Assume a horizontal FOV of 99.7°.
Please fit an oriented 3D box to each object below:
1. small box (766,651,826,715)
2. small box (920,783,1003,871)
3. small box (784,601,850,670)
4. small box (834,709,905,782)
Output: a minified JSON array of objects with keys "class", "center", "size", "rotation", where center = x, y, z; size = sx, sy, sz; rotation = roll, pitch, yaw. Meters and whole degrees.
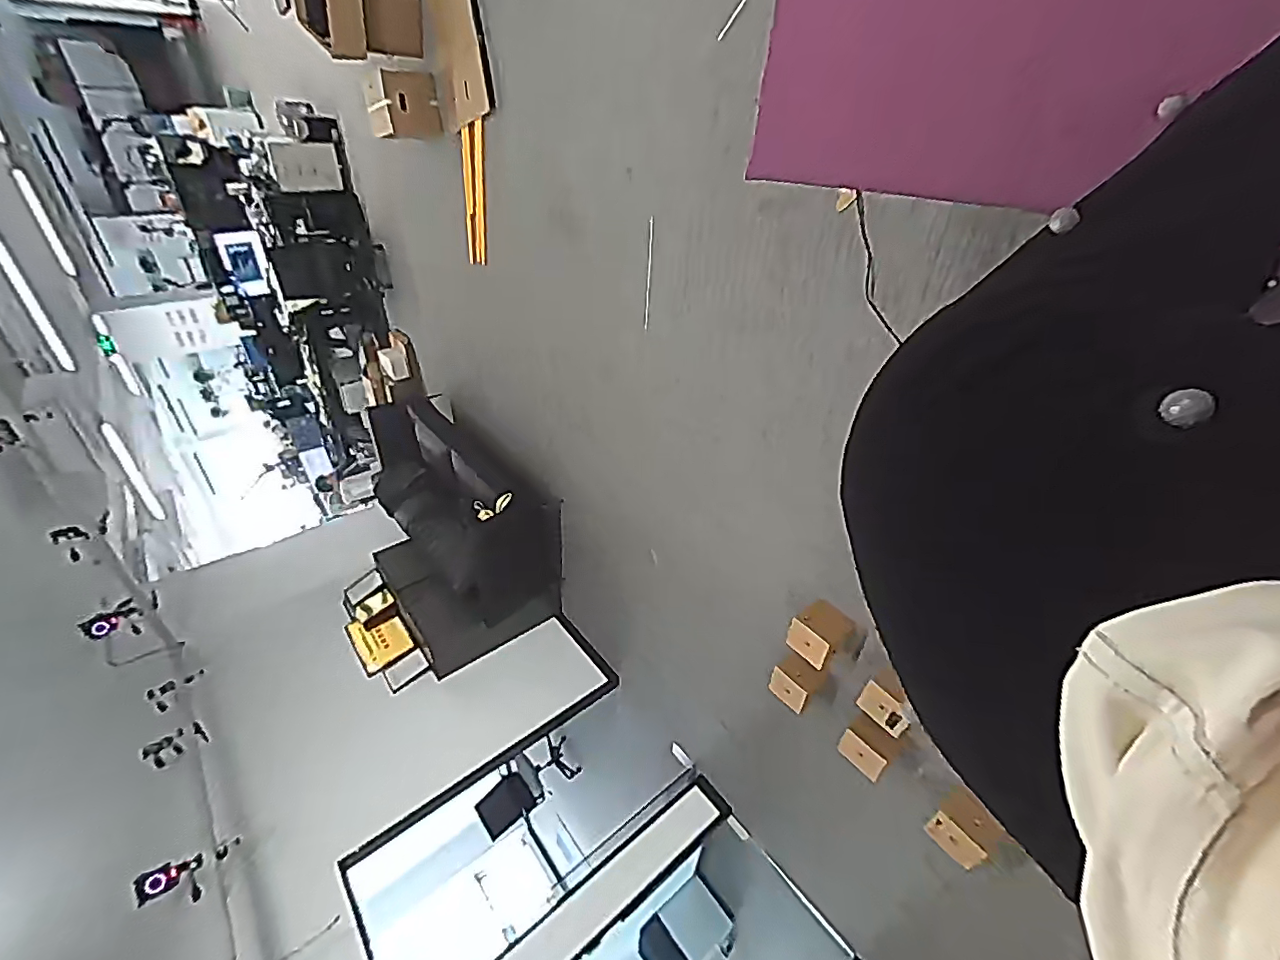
[{"class":"small box","center":[0.691,0.885,2.386],"size":[0.179,0.176,0.168],"rotation":[37,137,38]},{"class":"small box","center":[1.157,1.243,1.944],"size":[0.179,0.176,0.168],"rotation":[39,138,34]},{"class":"small box","center":[0.718,0.624,2.194],"size":[0.179,0.176,0.168],"rotation":[38,137,38]},{"class":"small box","center":[0.919,1.054,2.168],"size":[0.179,0.176,0.168],"rotation":[37,138,37]}]
